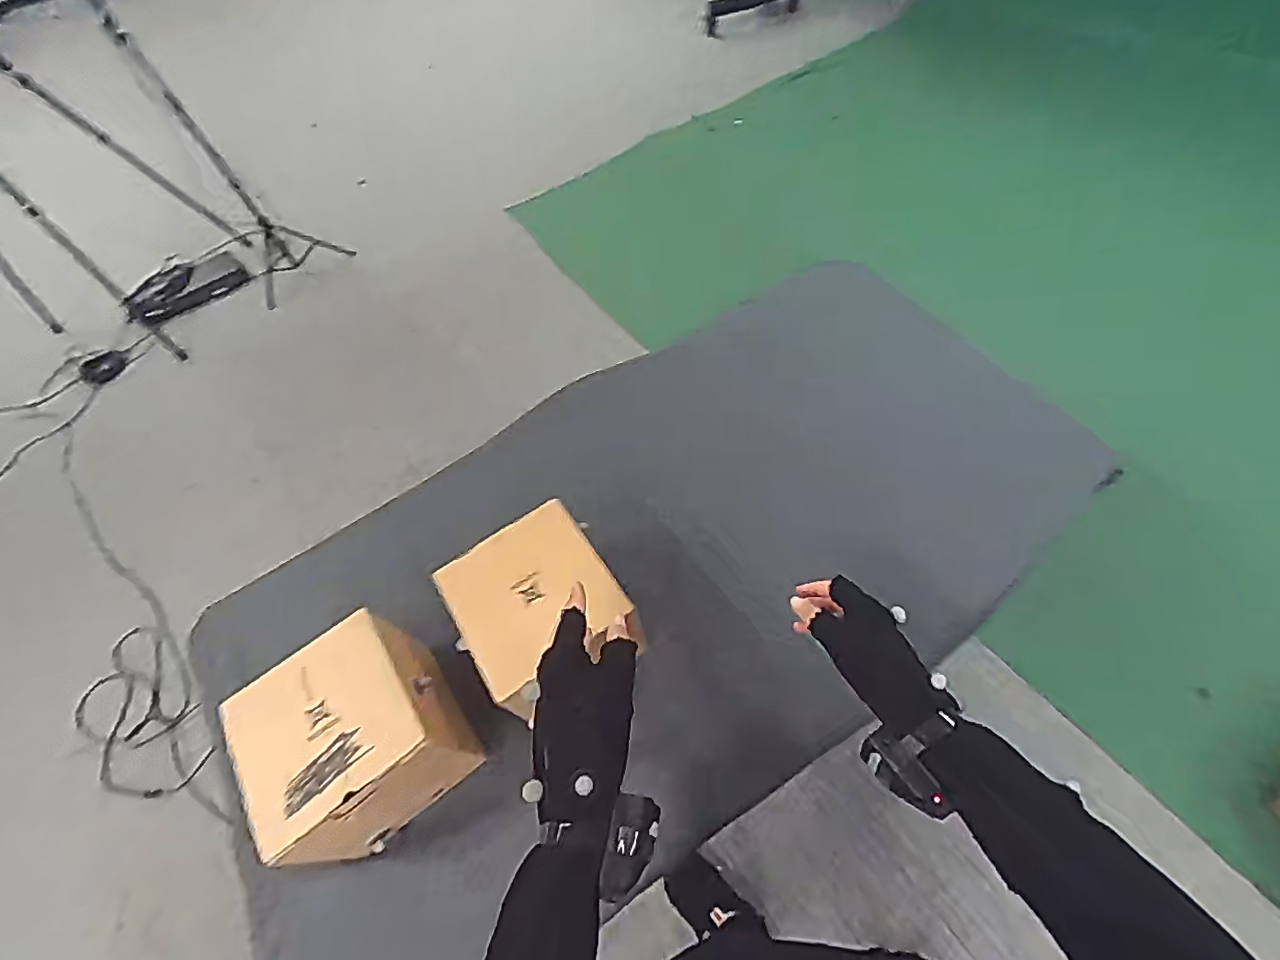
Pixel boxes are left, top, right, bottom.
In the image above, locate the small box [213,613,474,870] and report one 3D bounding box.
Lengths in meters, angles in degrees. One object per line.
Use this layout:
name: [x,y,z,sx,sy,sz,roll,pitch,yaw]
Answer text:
small box: [-0.314,0.285,0.601,0.168,0.176,0.179,-36,59,-15]
